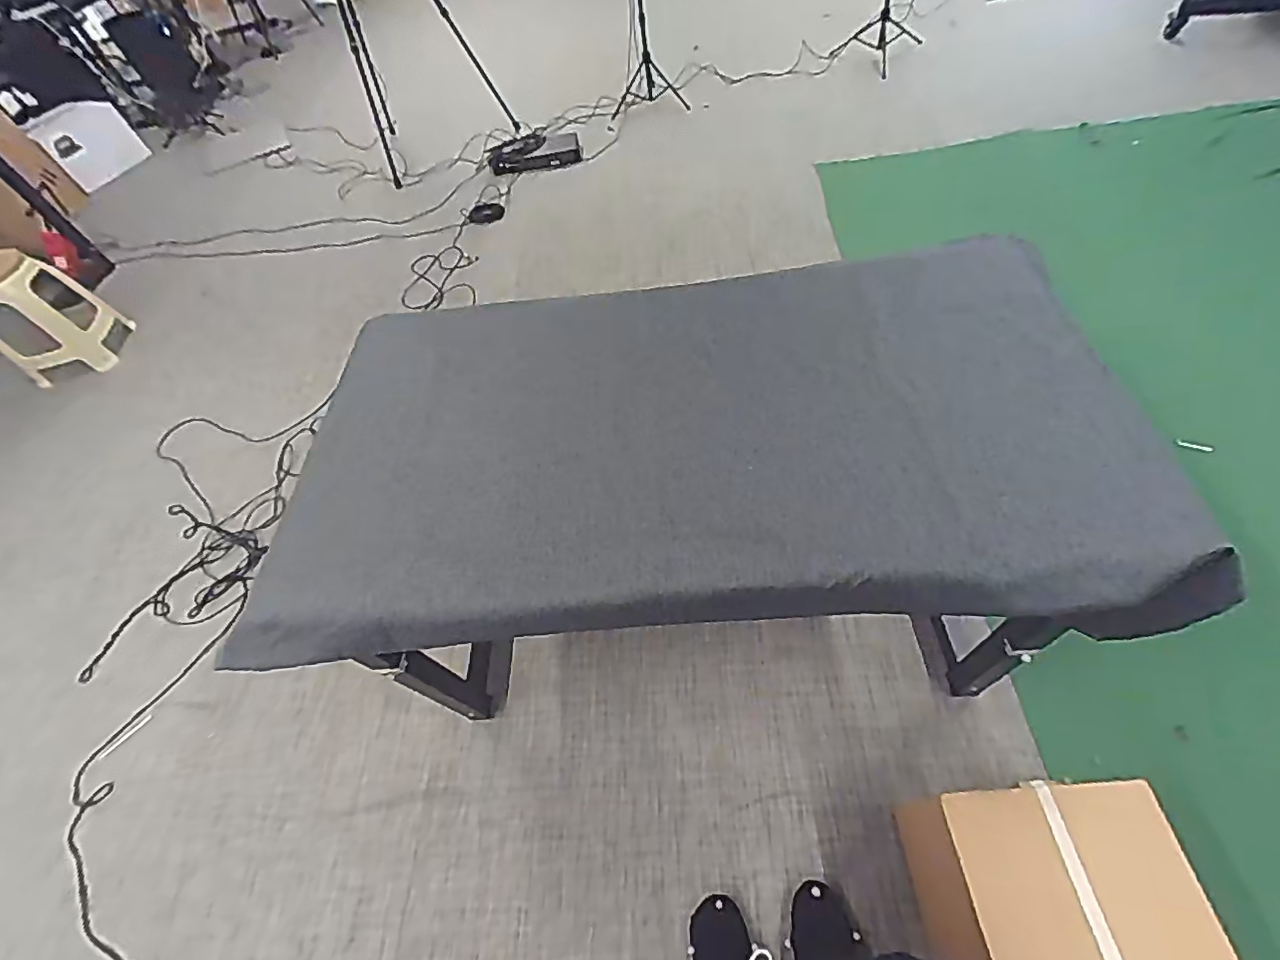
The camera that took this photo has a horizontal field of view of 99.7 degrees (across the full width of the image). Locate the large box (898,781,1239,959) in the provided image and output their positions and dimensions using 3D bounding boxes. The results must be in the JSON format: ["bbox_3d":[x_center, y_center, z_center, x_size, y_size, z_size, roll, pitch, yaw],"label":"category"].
[{"bbox_3d":[0.661,0.729,0.852,0.320,0.320,0.408,-8,54,6],"label":"large box"}]
